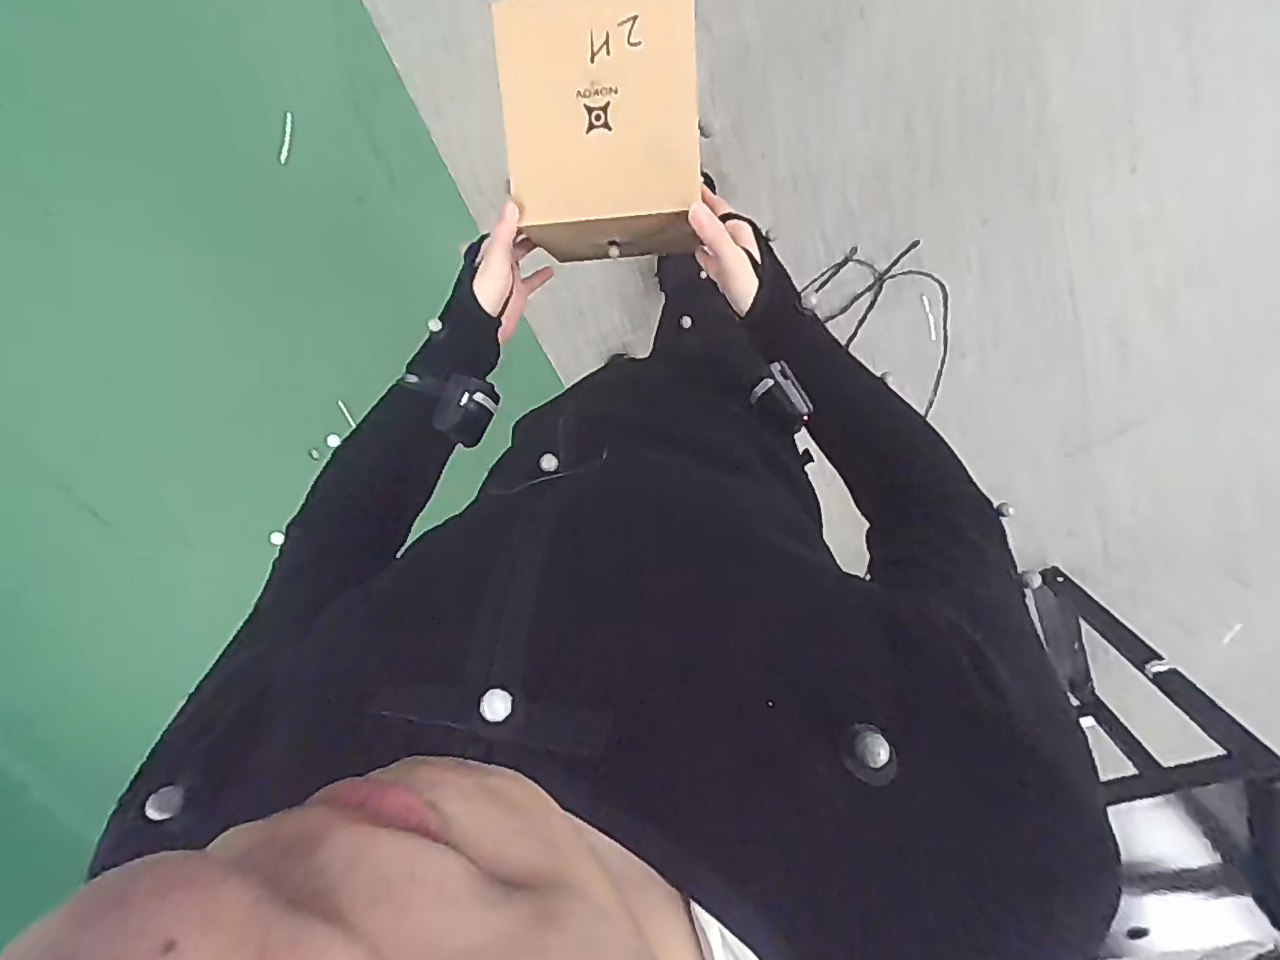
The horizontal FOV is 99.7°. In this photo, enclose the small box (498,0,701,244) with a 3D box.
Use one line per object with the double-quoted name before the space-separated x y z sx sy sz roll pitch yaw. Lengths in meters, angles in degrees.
"small box" -0.024 -0.340 0.528 0.168 0.176 0.179 -2 101 6
